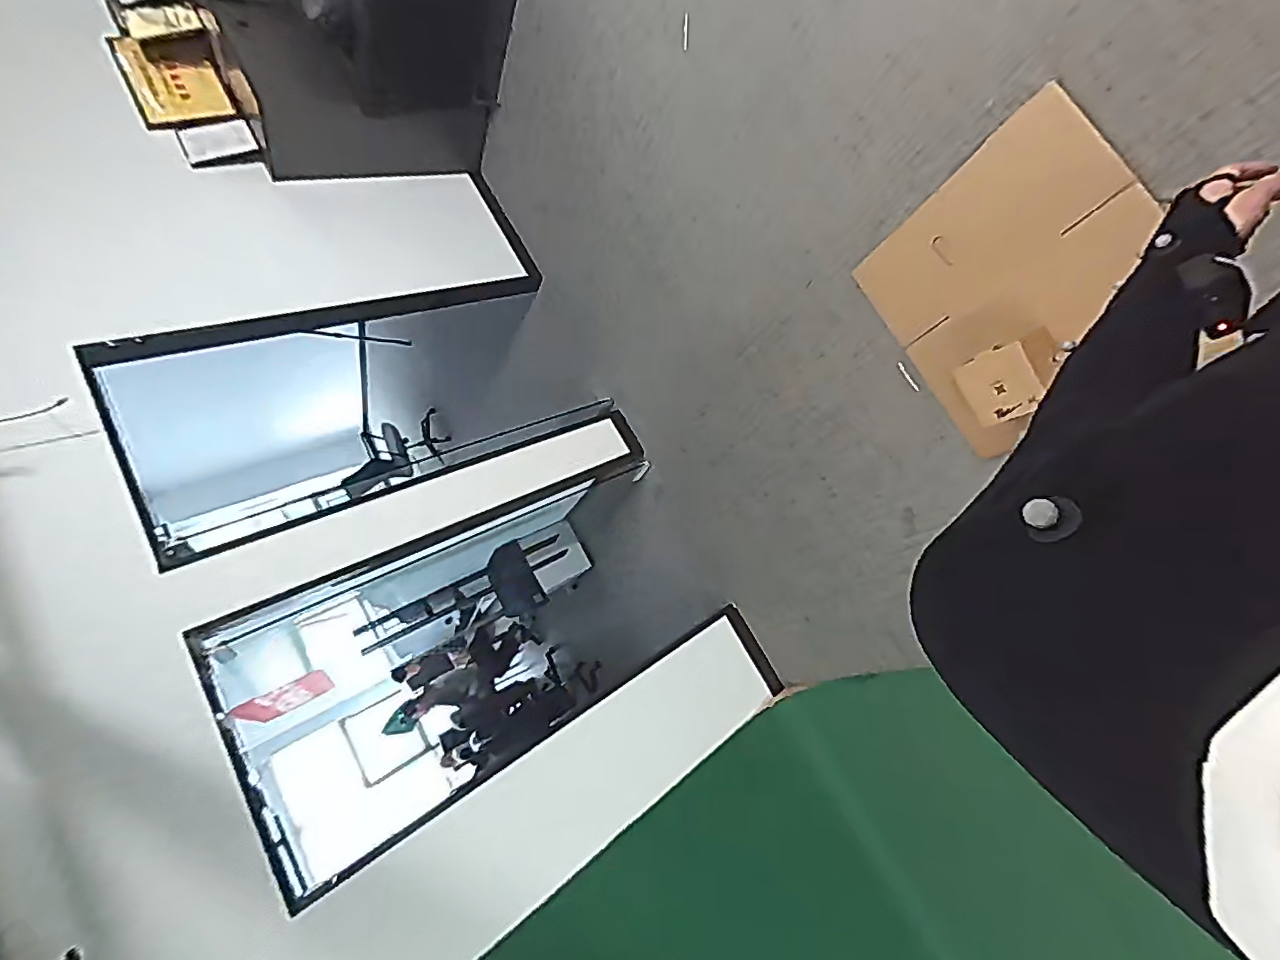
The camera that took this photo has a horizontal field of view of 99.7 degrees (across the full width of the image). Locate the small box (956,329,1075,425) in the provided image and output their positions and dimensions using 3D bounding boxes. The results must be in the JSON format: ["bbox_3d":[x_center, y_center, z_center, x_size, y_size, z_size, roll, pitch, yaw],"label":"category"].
[{"bbox_3d":[0.947,-0.264,1.364,0.168,0.176,0.179,-29,86,57],"label":"small box"}]
